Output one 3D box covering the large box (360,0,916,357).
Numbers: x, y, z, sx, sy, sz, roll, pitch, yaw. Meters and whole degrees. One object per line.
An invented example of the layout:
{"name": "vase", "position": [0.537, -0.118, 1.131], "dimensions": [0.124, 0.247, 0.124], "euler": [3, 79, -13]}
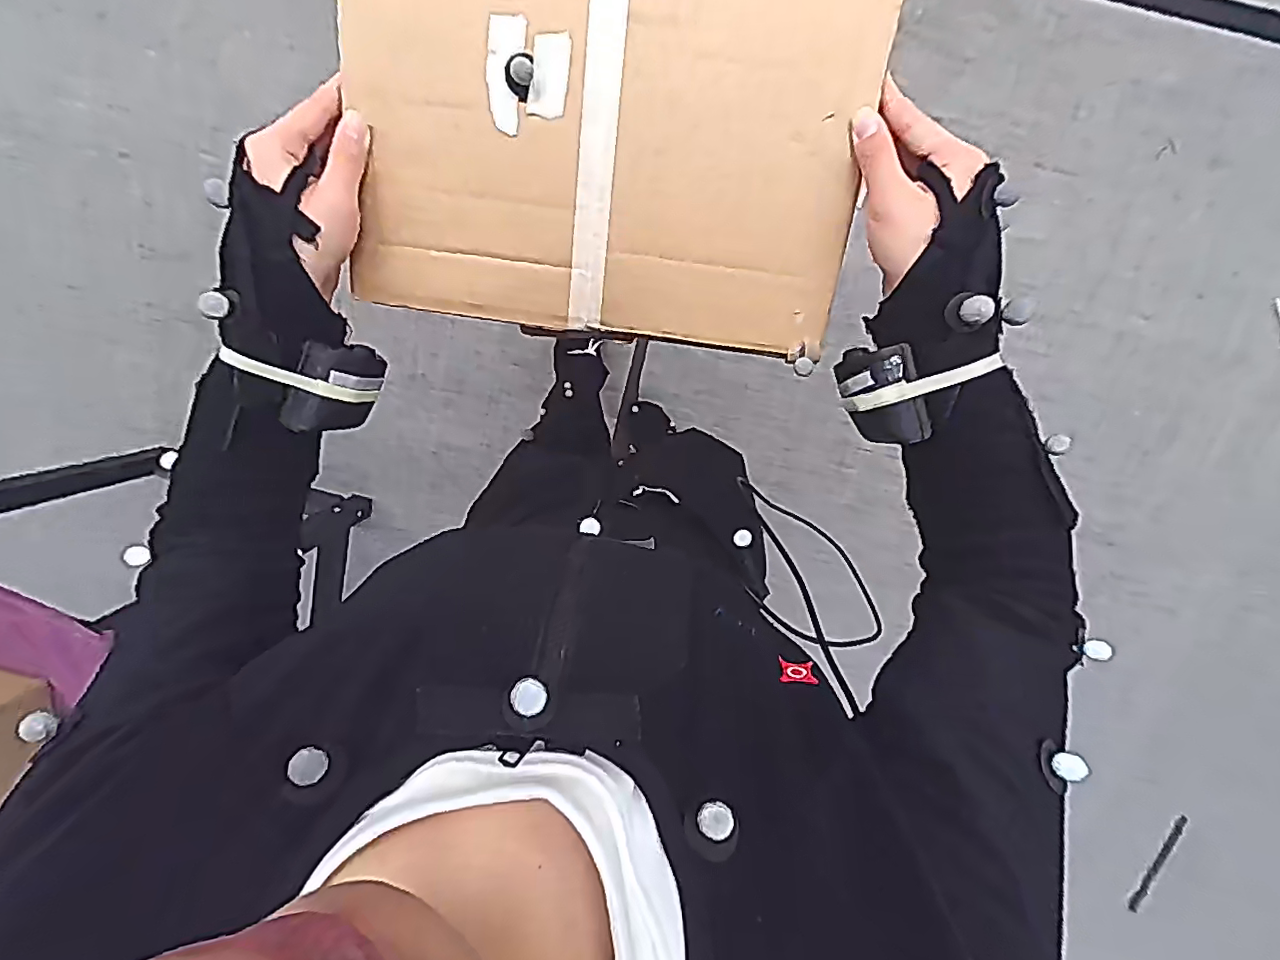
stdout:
{"name": "large box", "position": [0.004, -0.333, 0.430], "dimensions": [0.320, 0.320, 0.408], "euler": [7, 110, 1]}
